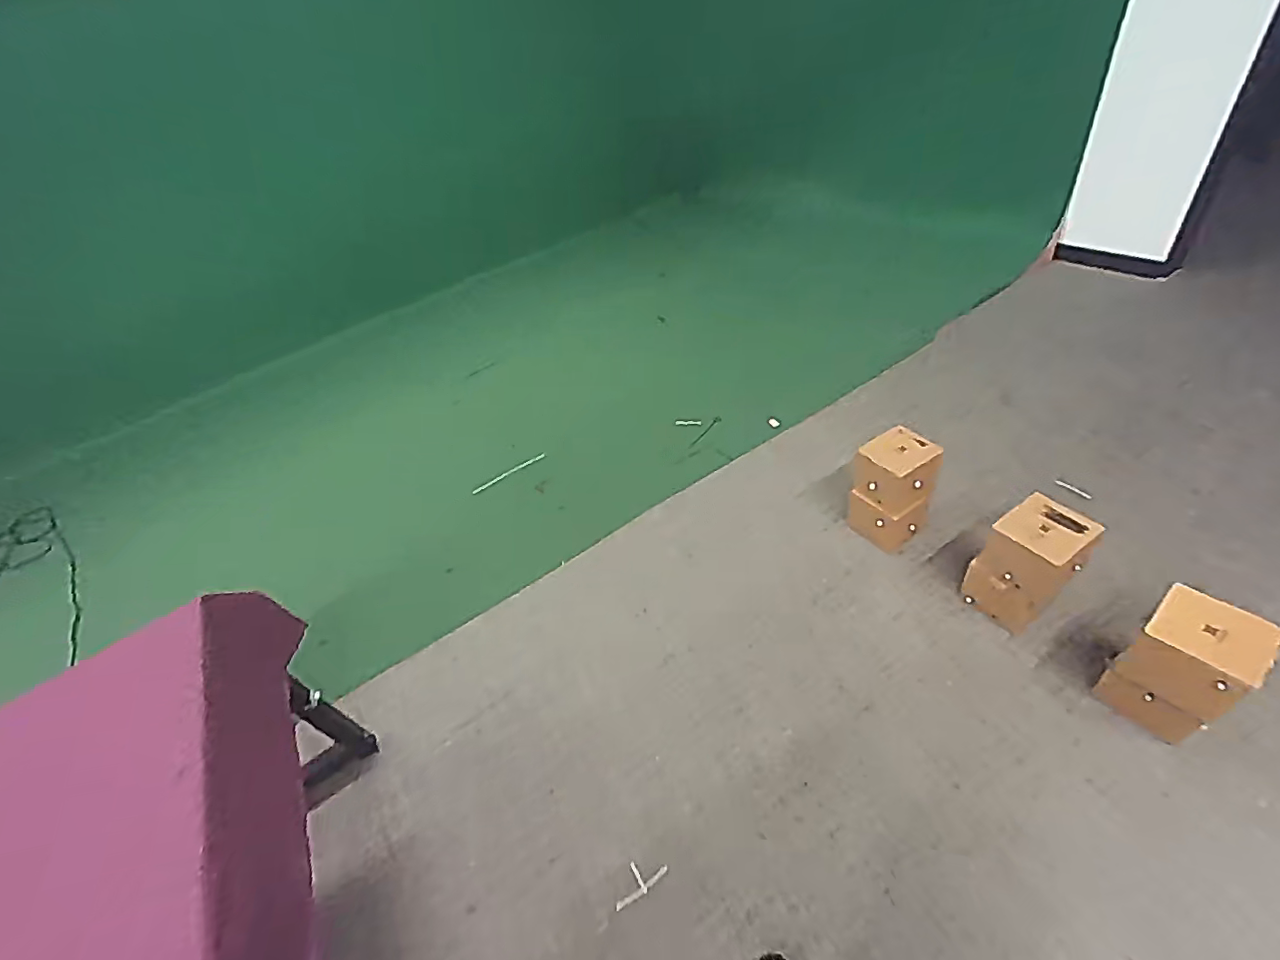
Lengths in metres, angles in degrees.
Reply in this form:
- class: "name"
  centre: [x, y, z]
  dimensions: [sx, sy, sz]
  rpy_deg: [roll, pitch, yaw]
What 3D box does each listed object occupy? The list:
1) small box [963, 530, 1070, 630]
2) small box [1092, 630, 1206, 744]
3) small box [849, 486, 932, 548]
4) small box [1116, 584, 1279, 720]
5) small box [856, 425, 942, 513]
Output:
- class: "small box"
  centre: [1.024, 0.279, 1.488]
  dimensions: [0.179, 0.176, 0.168]
  rpy_deg: [-31, 44, -15]
- class: "small box"
  centre: [1.195, 0.463, 1.239]
  dimensions: [0.168, 0.176, 0.179]
  rpy_deg: [-34, 45, -16]
- class: "small box"
  centre: [0.805, 0.096, 1.752]
  dimensions: [0.168, 0.176, 0.179]
  rpy_deg: [-31, 44, -16]
- class: "small box"
  centre: [1.148, 0.358, 1.123]
  dimensions: [0.168, 0.176, 0.179]
  rpy_deg: [-37, 46, -20]
- class: "small box"
  centre: [0.783, -0.030, 1.647]
  dimensions: [0.179, 0.176, 0.168]
  rpy_deg: [-29, 44, -12]
